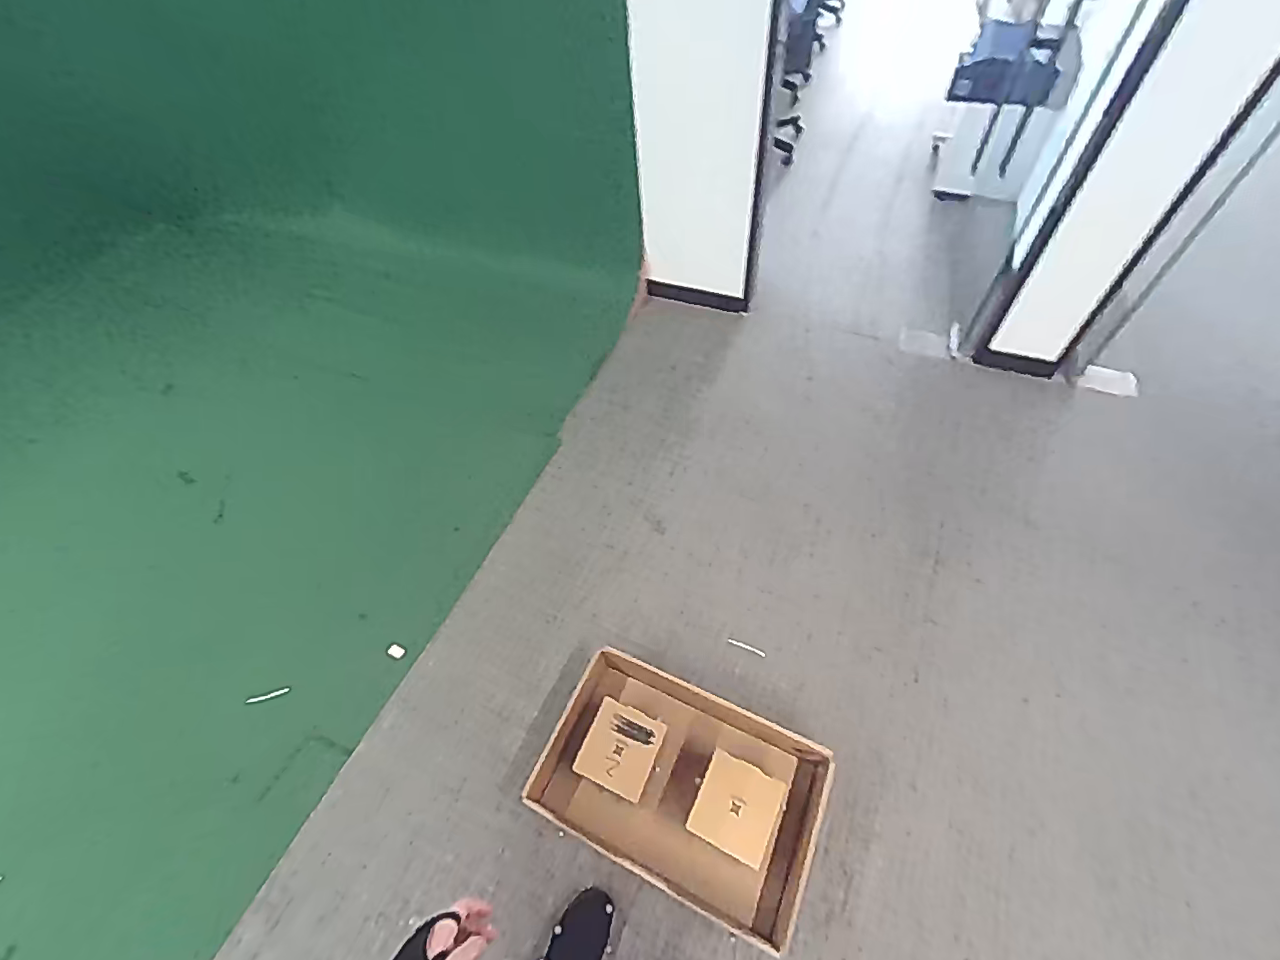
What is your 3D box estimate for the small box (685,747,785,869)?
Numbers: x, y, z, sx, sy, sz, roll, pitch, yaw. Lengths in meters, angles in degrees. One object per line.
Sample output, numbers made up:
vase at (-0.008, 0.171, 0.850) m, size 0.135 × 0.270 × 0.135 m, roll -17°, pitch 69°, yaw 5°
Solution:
small box at (0.213, 0.742, 1.224) m, size 0.168 × 0.176 × 0.179 m, roll 21°, pitch 59°, yaw 19°
